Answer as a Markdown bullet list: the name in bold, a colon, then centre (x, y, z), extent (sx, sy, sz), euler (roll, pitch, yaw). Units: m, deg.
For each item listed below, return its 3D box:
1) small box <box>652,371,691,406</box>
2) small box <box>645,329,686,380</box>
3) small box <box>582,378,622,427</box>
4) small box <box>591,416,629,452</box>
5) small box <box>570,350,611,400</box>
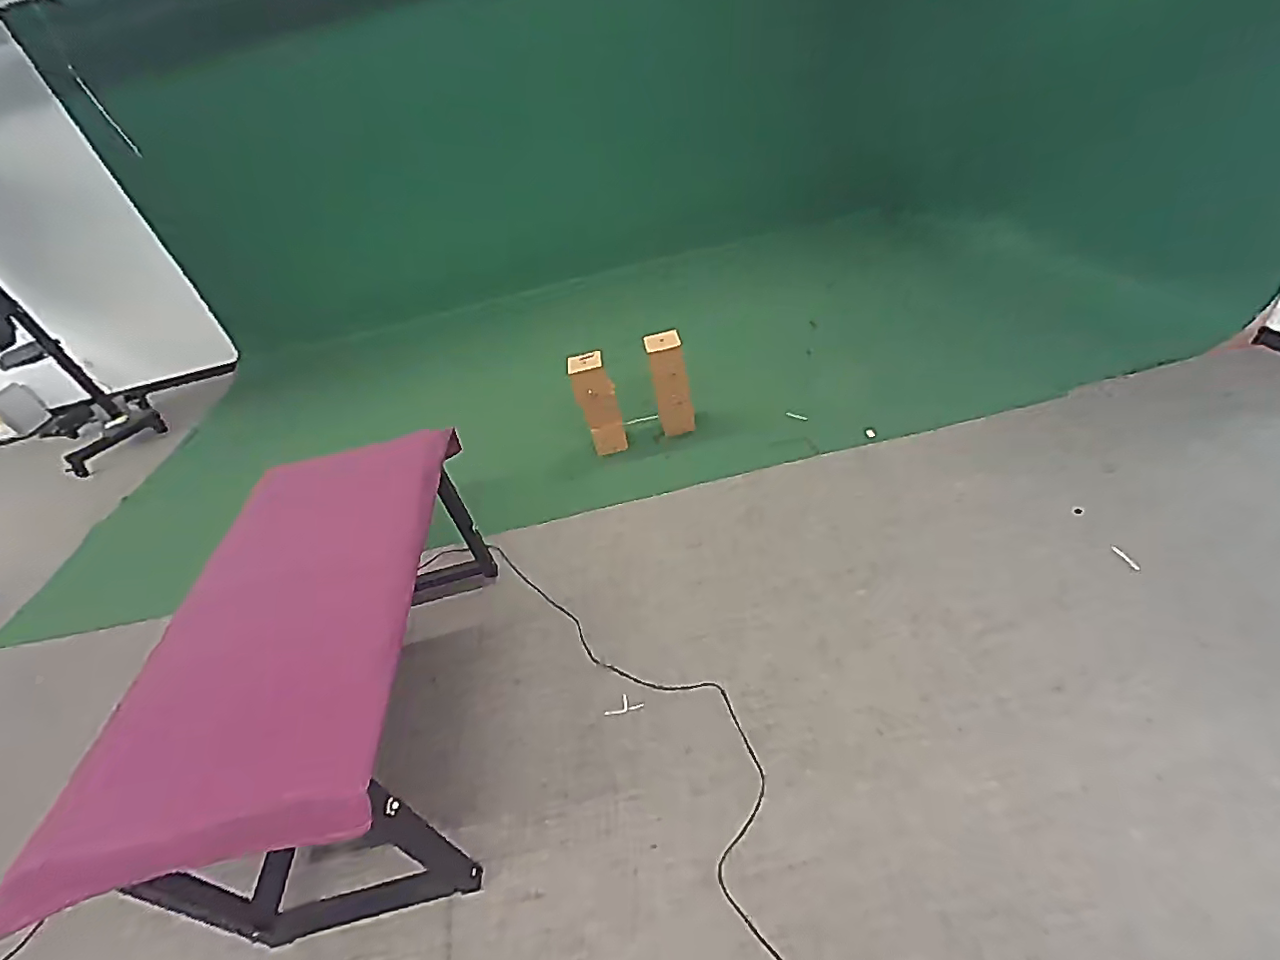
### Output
- **small box**: centre (0.160, -0.492, 2.760), extent (0.168, 0.176, 0.179), euler (-12, 41, 1)
- **small box**: centre (0.125, -0.616, 2.657), extent (0.168, 0.176, 0.179), euler (-12, 40, 3)
- **small box**: centre (-0.196, -0.394, 2.758), extent (0.179, 0.176, 0.168), euler (-16, 38, -1)
- **small box**: centre (-0.161, -0.262, 2.847), extent (0.168, 0.176, 0.179), euler (-16, 38, -1)
- **small box**: centre (-0.245, -0.514, 2.657), extent (0.168, 0.176, 0.179), euler (-13, 38, 2)
